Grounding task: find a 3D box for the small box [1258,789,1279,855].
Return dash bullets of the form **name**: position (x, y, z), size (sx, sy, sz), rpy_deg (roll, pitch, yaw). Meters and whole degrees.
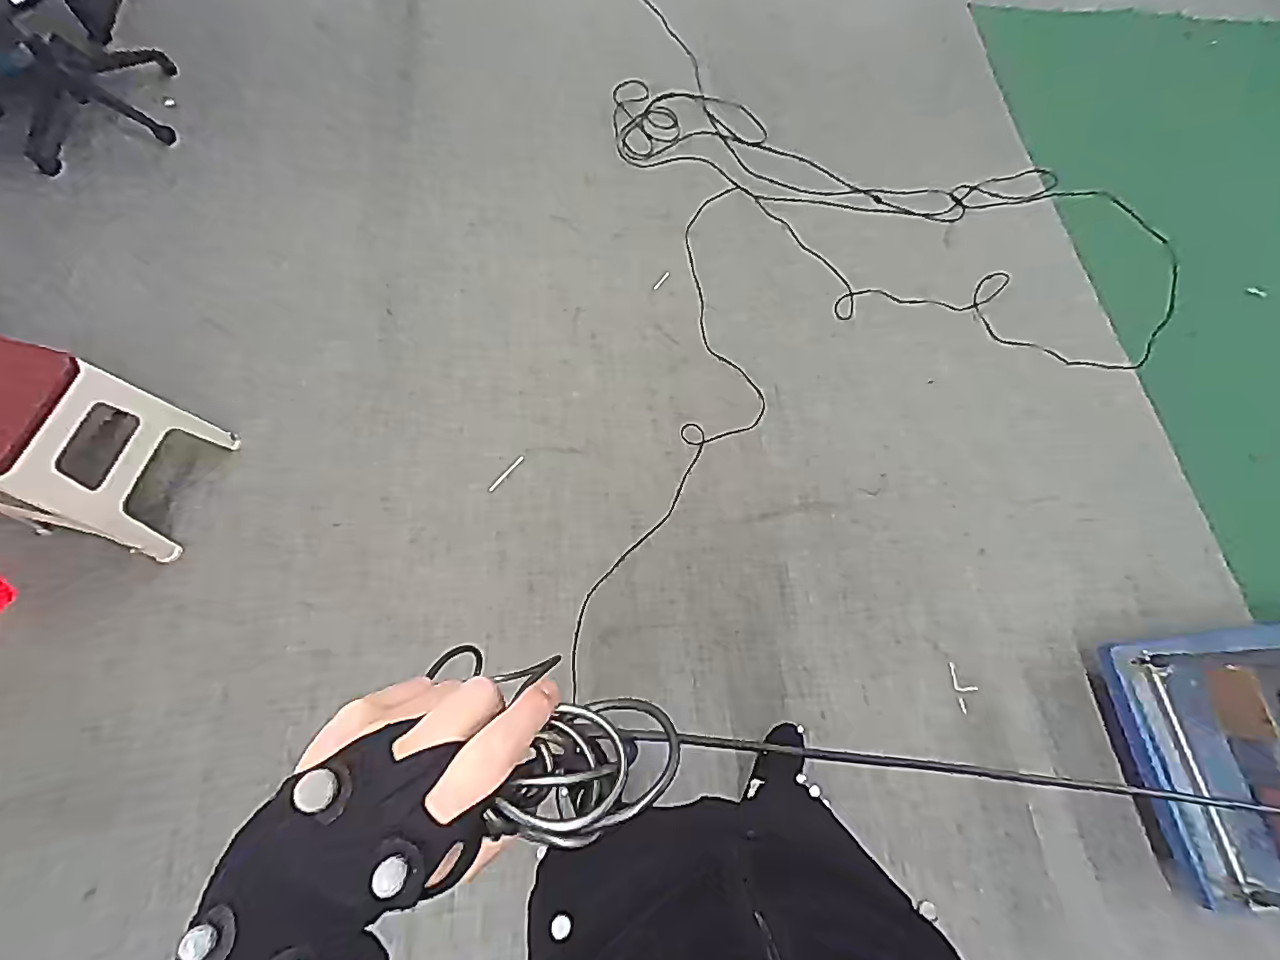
- **small box**: position (1.546, 0.777, 1.179), size (0.179, 0.176, 0.168), rpy_deg (-3, 69, -5)
